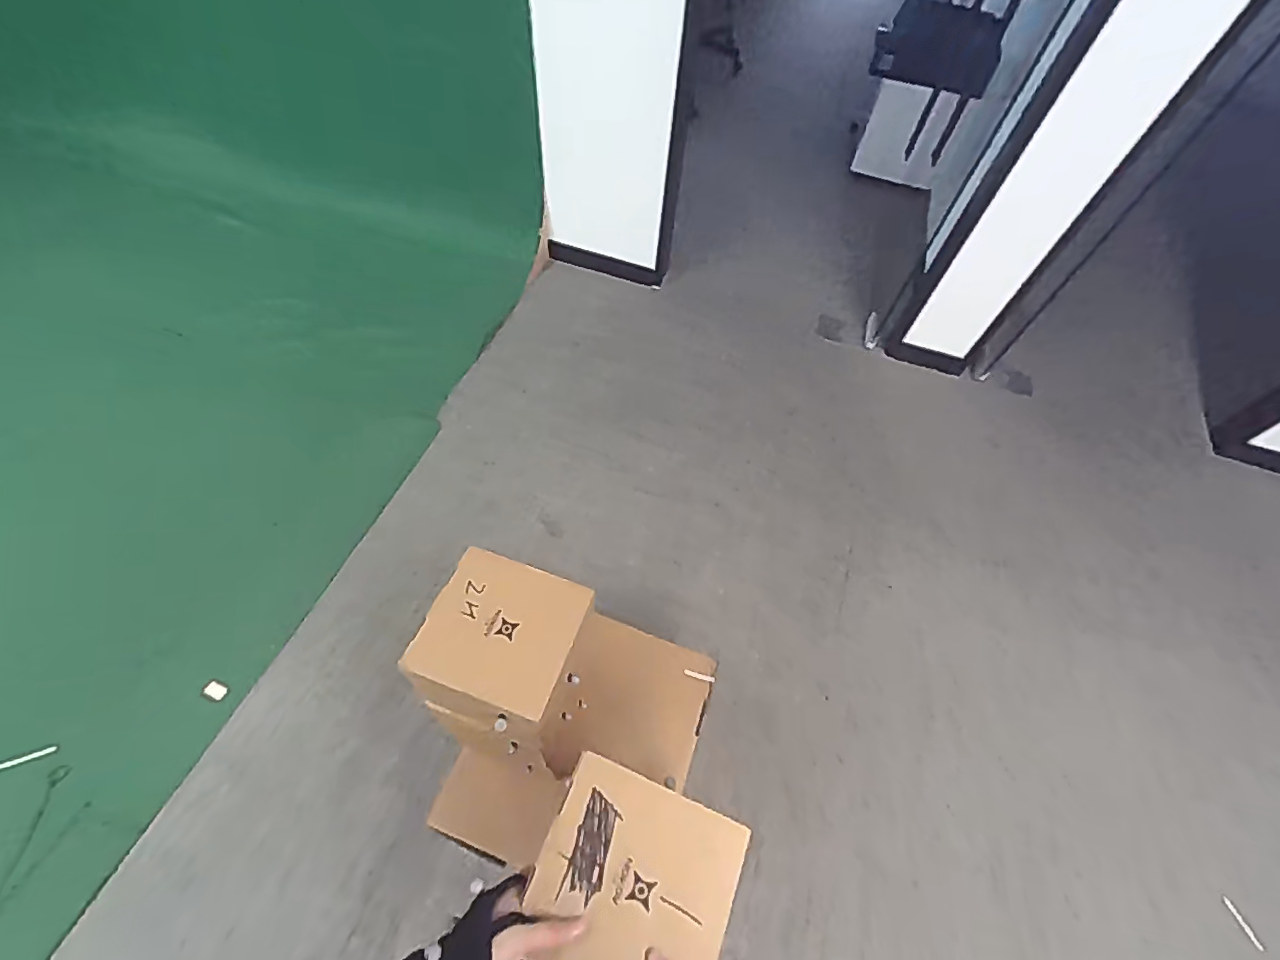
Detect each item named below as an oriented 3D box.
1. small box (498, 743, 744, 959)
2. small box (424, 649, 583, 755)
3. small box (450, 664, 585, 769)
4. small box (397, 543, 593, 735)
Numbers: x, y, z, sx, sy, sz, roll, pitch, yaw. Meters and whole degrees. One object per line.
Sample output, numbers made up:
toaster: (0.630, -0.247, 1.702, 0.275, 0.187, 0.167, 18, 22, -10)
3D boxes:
small box: (-0.017, 0.394, 0.550, 0.179, 0.176, 0.168, 22, 61, 8)
small box: (-0.199, 0.307, 0.840, 0.179, 0.176, 0.168, 19, 55, 6)
small box: (-0.207, 0.402, 0.971, 0.179, 0.176, 0.168, 17, 55, 6)
small box: (-0.173, 0.214, 0.706, 0.179, 0.176, 0.168, 20, 55, 7)
